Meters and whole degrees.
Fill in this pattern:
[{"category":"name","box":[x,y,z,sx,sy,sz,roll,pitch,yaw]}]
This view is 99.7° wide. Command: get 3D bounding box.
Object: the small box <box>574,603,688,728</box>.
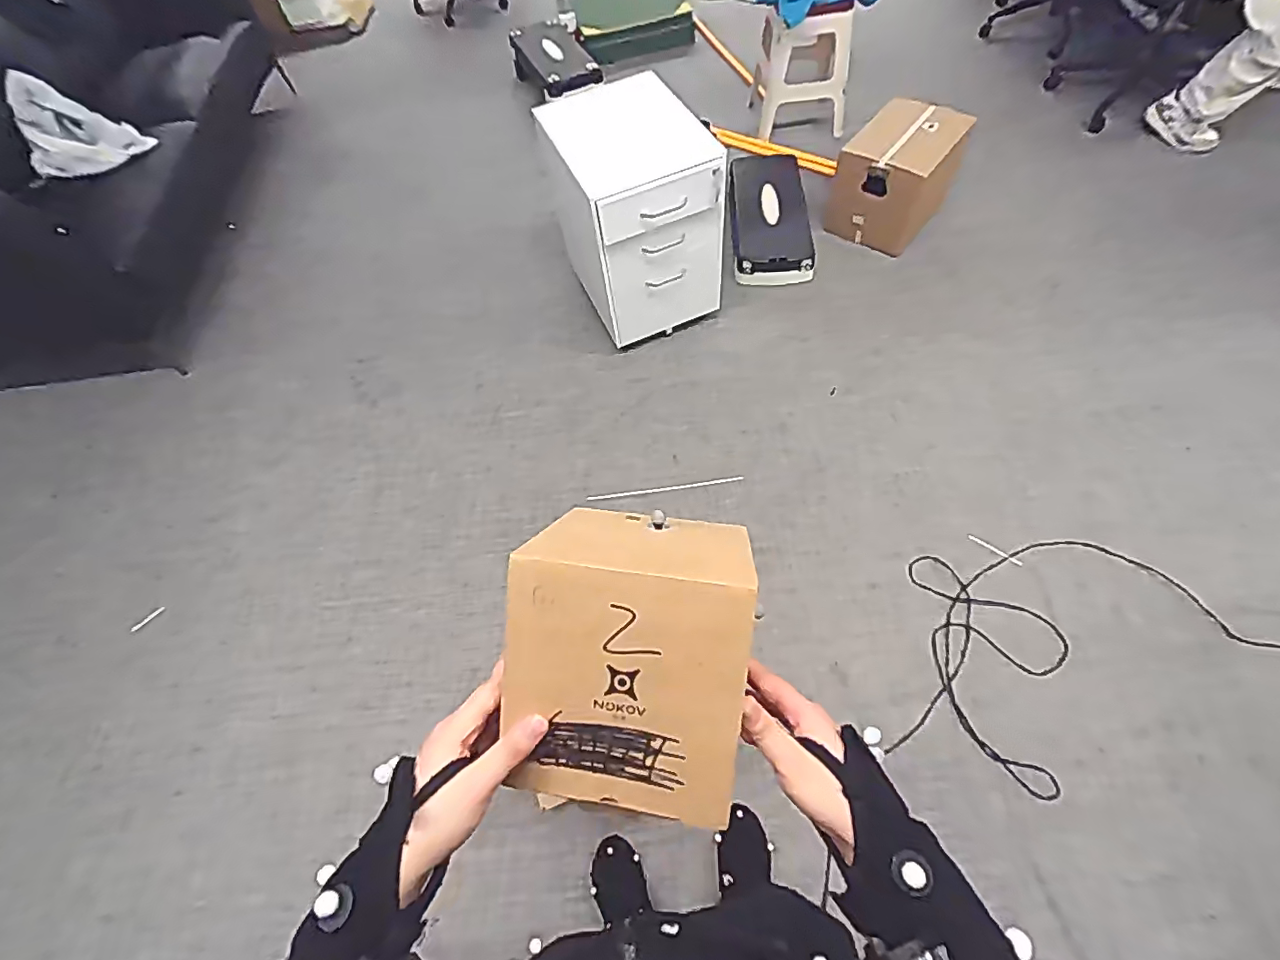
[{"category":"small box","box":[-0.006,0.354,1.017,0.168,0.176,0.179,12,65,12]}]
